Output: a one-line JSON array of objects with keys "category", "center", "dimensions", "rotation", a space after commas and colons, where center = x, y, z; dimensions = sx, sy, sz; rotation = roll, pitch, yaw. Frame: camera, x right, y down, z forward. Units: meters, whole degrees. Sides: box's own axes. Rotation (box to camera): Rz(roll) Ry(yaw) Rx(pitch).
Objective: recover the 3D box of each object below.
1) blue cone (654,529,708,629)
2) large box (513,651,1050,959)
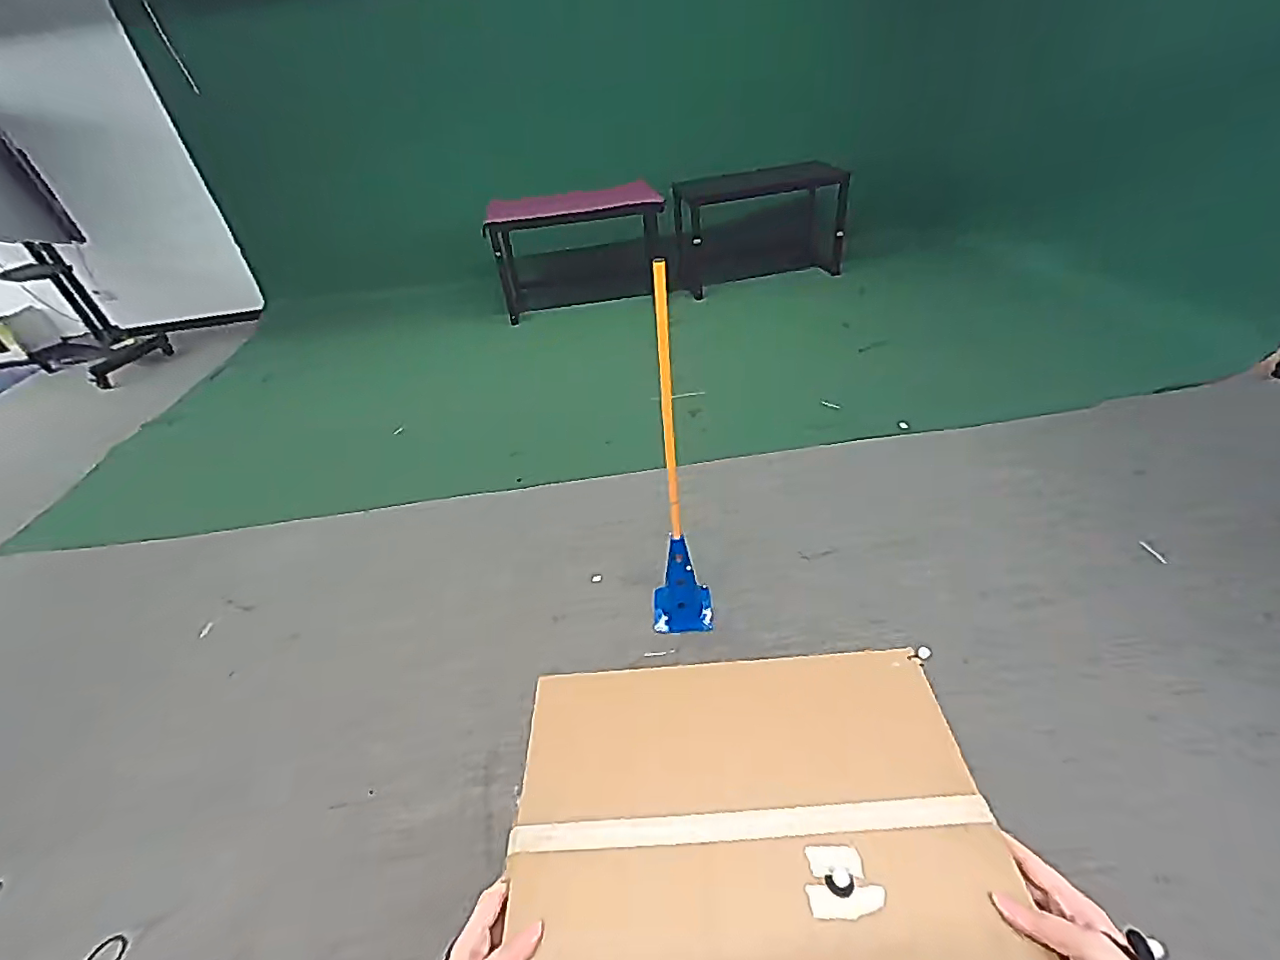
[{"category": "blue cone", "center": [0.129, 0.320, 1.817], "dimensions": [0.193, 0.380, 0.192], "rotation": [-3, 37, 5]}, {"category": "large box", "center": [0.108, 0.414, 0.567], "dimensions": [0.408, 0.320, 0.320], "rotation": [-5, 40, 2]}]
